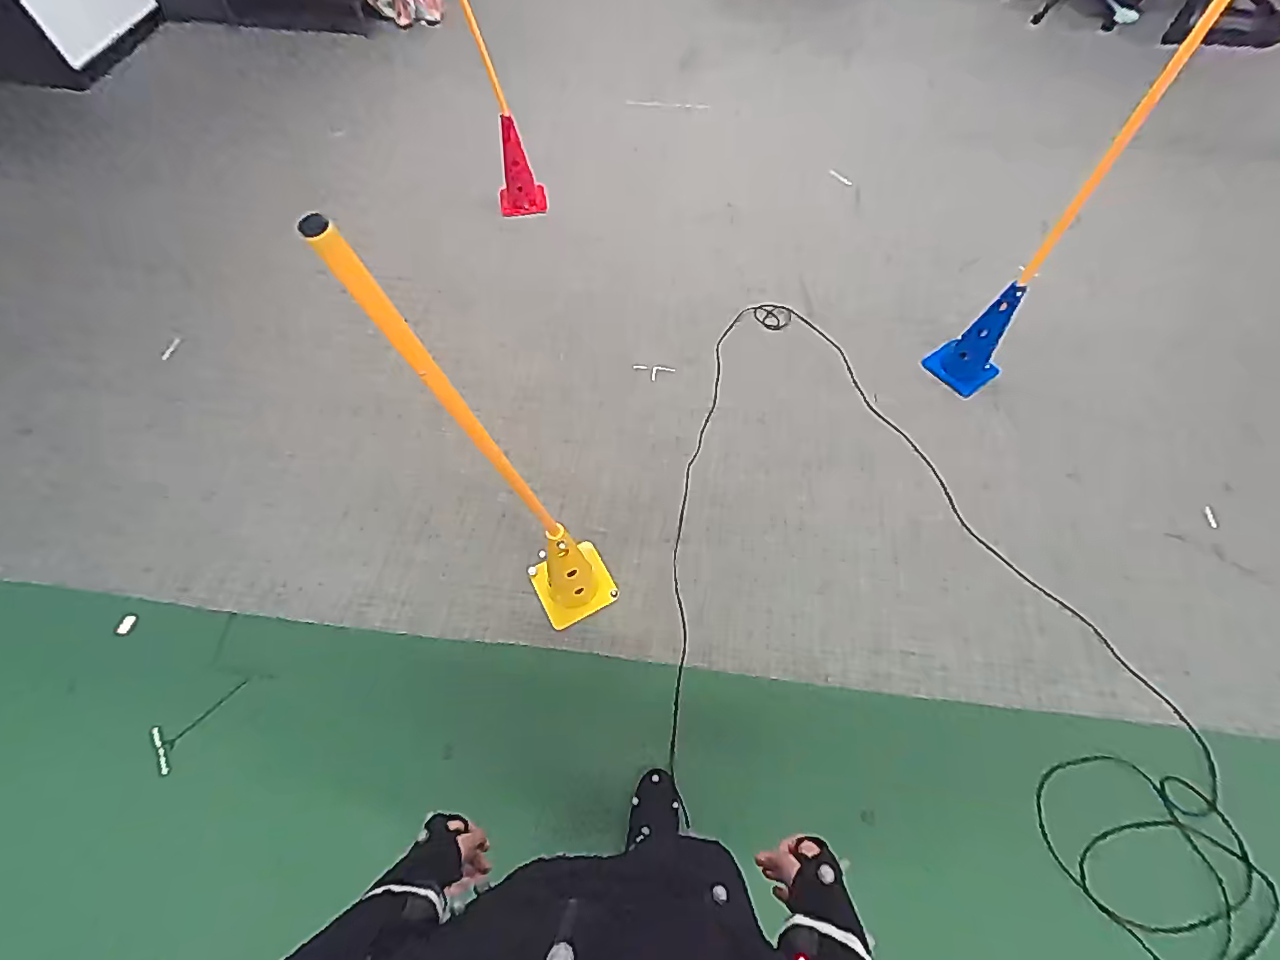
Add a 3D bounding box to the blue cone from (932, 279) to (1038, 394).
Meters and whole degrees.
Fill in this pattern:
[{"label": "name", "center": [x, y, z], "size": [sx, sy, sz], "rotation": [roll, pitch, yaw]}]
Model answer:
[{"label": "blue cone", "center": [1.121, -0.476, 1.716], "size": [0.193, 0.380, 0.192], "rotation": [-33, 64, -19]}]
